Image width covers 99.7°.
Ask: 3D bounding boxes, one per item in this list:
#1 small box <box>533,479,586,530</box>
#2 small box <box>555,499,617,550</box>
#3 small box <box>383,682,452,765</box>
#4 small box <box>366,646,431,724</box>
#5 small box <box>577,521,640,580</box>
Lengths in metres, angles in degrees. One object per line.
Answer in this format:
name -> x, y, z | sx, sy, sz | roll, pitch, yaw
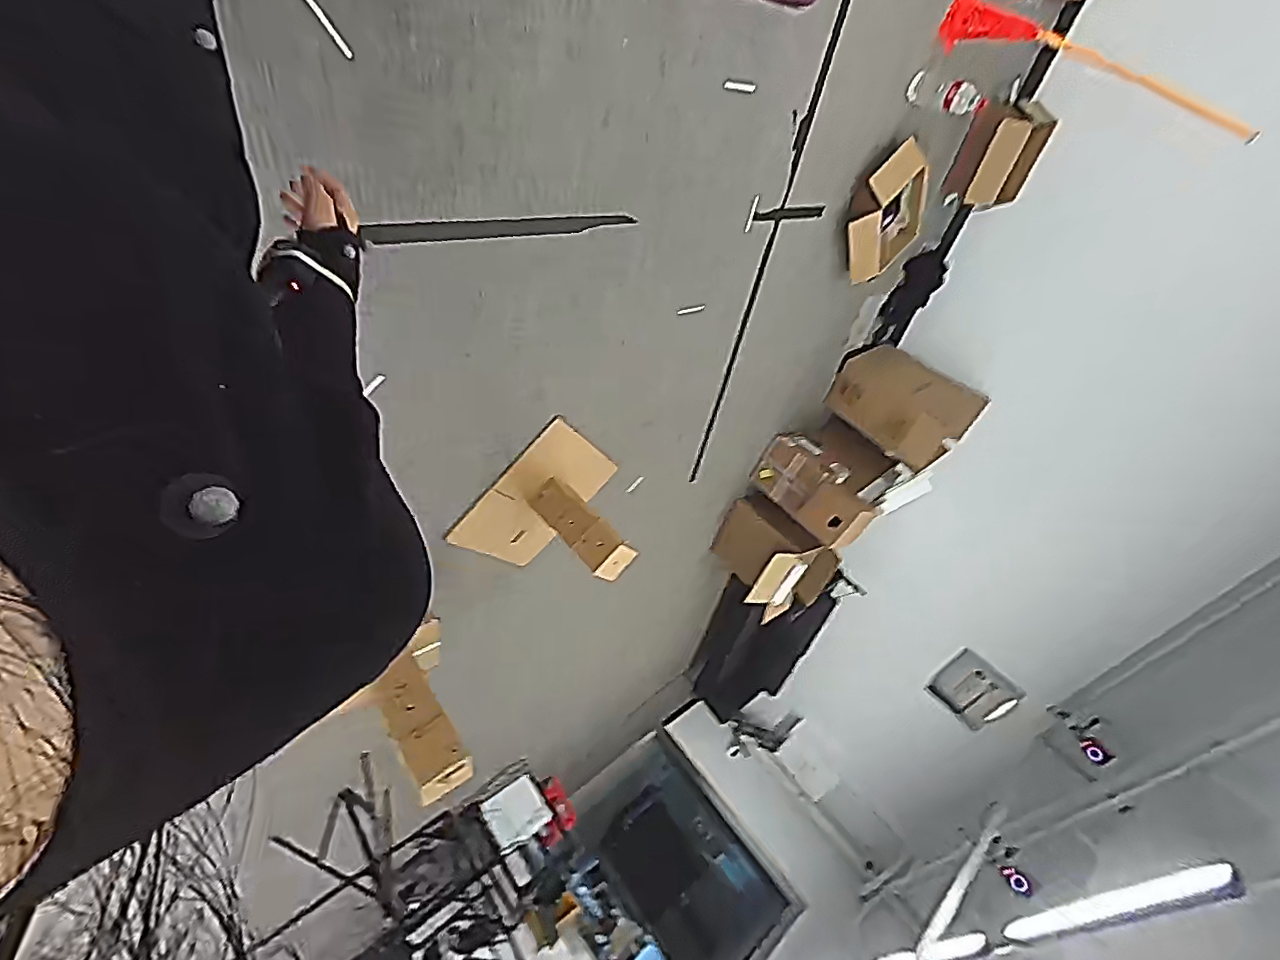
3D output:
small box -> -0.349, 0.119, 2.456 | 0.168, 0.176, 0.179 | -50, 149, 4
small box -> -0.238, 0.207, 2.370 | 0.168, 0.176, 0.179 | -48, 150, 4
small box -> -0.760, 0.823, 1.849 | 0.168, 0.176, 0.179 | -21, 140, -36
small box -> -0.862, 0.718, 1.925 | 0.168, 0.176, 0.179 | -19, 141, -39
small box -> -0.136, 0.296, 2.282 | 0.168, 0.176, 0.179 | -48, 150, 1
